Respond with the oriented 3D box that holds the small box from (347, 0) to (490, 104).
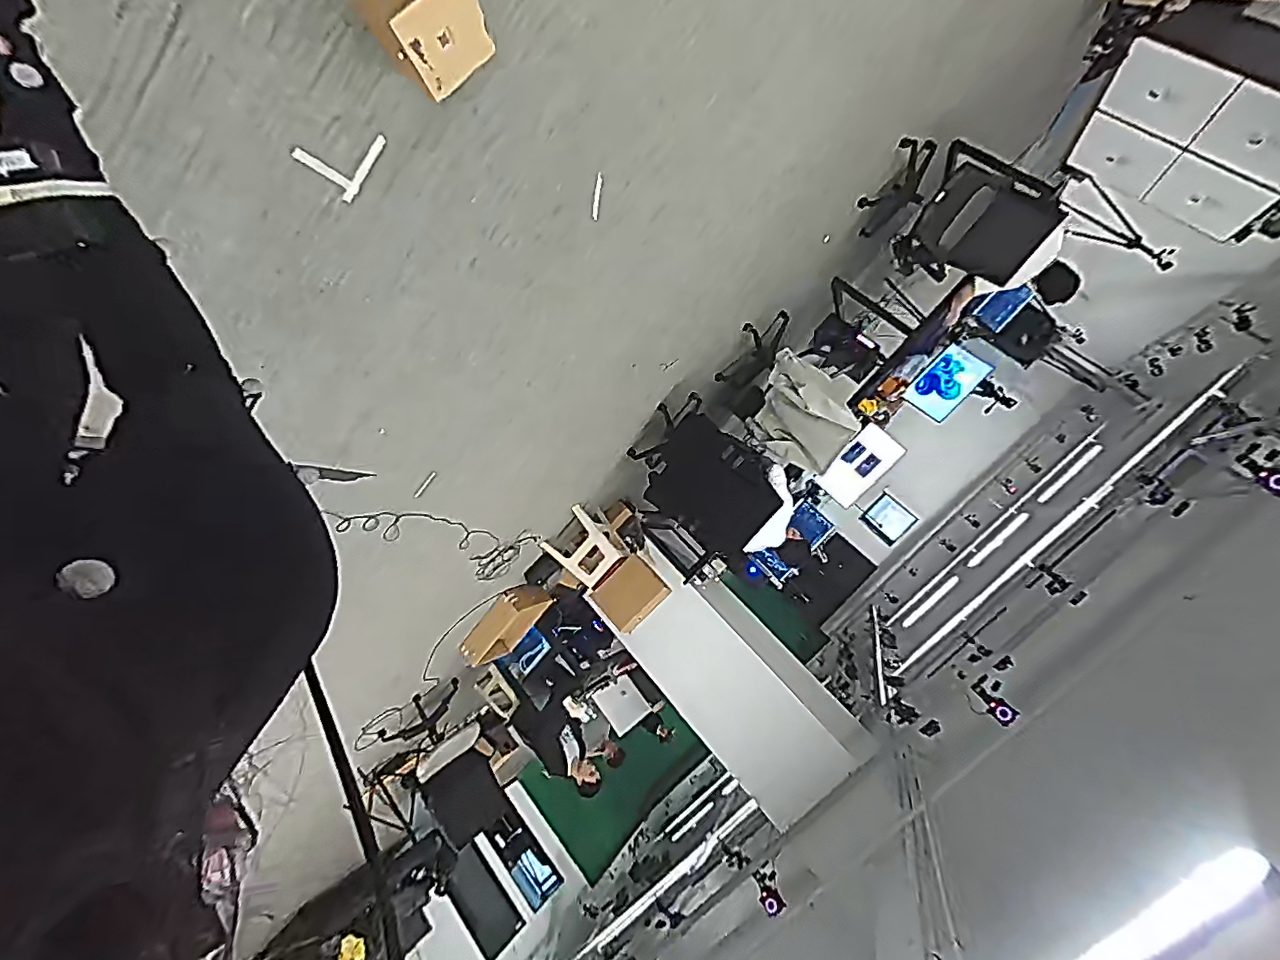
[{"bbox_3d":[-0.450,-0.933,1.103,0.179,0.176,0.168,-44,161,-4],"label":"small box"}]
